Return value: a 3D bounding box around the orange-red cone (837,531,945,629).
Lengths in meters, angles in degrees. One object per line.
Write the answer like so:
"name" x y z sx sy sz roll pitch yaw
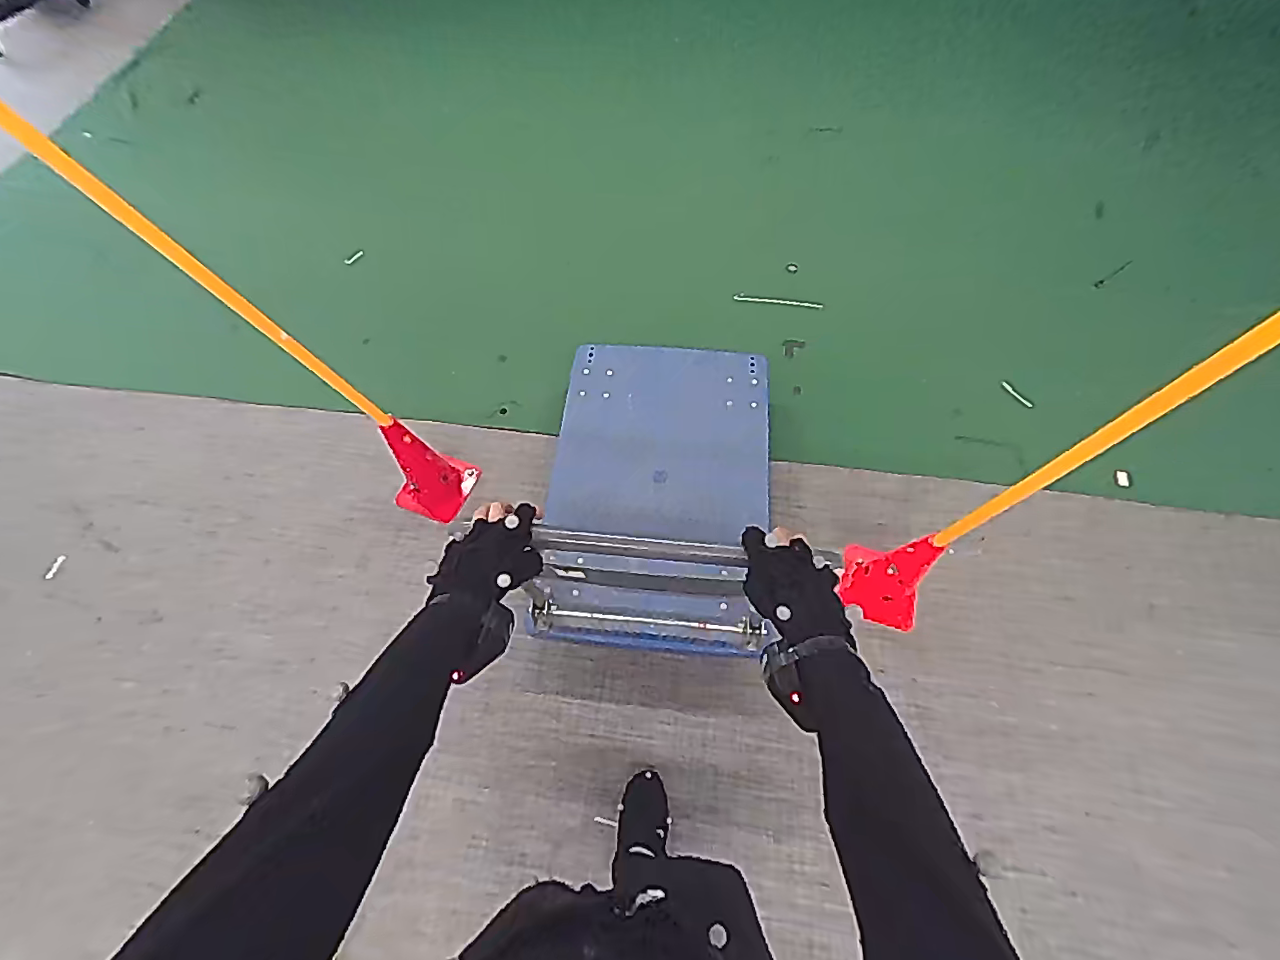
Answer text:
"orange-red cone" 0.639 0.208 1.306 0.198 0.360 0.199 17 65 10
